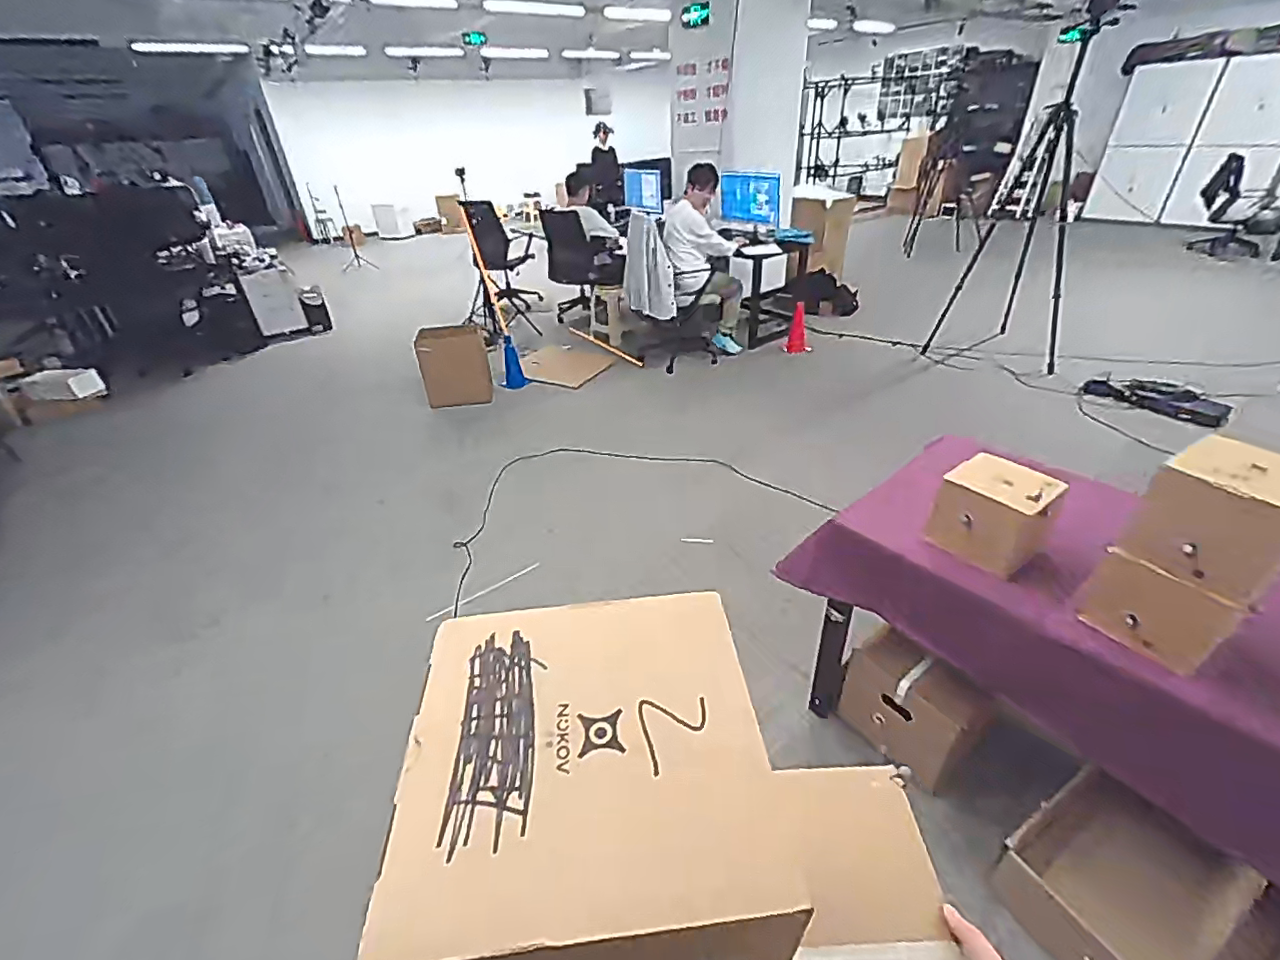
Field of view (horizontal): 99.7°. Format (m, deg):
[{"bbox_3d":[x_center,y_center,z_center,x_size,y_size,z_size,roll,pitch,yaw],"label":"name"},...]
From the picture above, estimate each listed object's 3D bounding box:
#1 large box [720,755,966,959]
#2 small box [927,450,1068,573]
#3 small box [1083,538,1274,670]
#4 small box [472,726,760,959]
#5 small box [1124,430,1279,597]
[{"bbox_3d":[0.080,0.520,0.552,0.408,0.320,0.320,-3,39,0],"label":"large box"},{"bbox_3d":[0.740,0.064,1.137,0.168,0.176,0.179,-25,38,-27],"label":"small box"},{"bbox_3d":[0.921,0.187,0.935,0.179,0.176,0.168,-22,37,-24],"label":"small box"},{"bbox_3d":[-0.017,0.319,0.419,0.179,0.176,0.168,-6,37,-2],"label":"small box"},{"bbox_3d":[0.917,0.048,0.846,0.179,0.176,0.168,-21,36,-23],"label":"small box"}]
